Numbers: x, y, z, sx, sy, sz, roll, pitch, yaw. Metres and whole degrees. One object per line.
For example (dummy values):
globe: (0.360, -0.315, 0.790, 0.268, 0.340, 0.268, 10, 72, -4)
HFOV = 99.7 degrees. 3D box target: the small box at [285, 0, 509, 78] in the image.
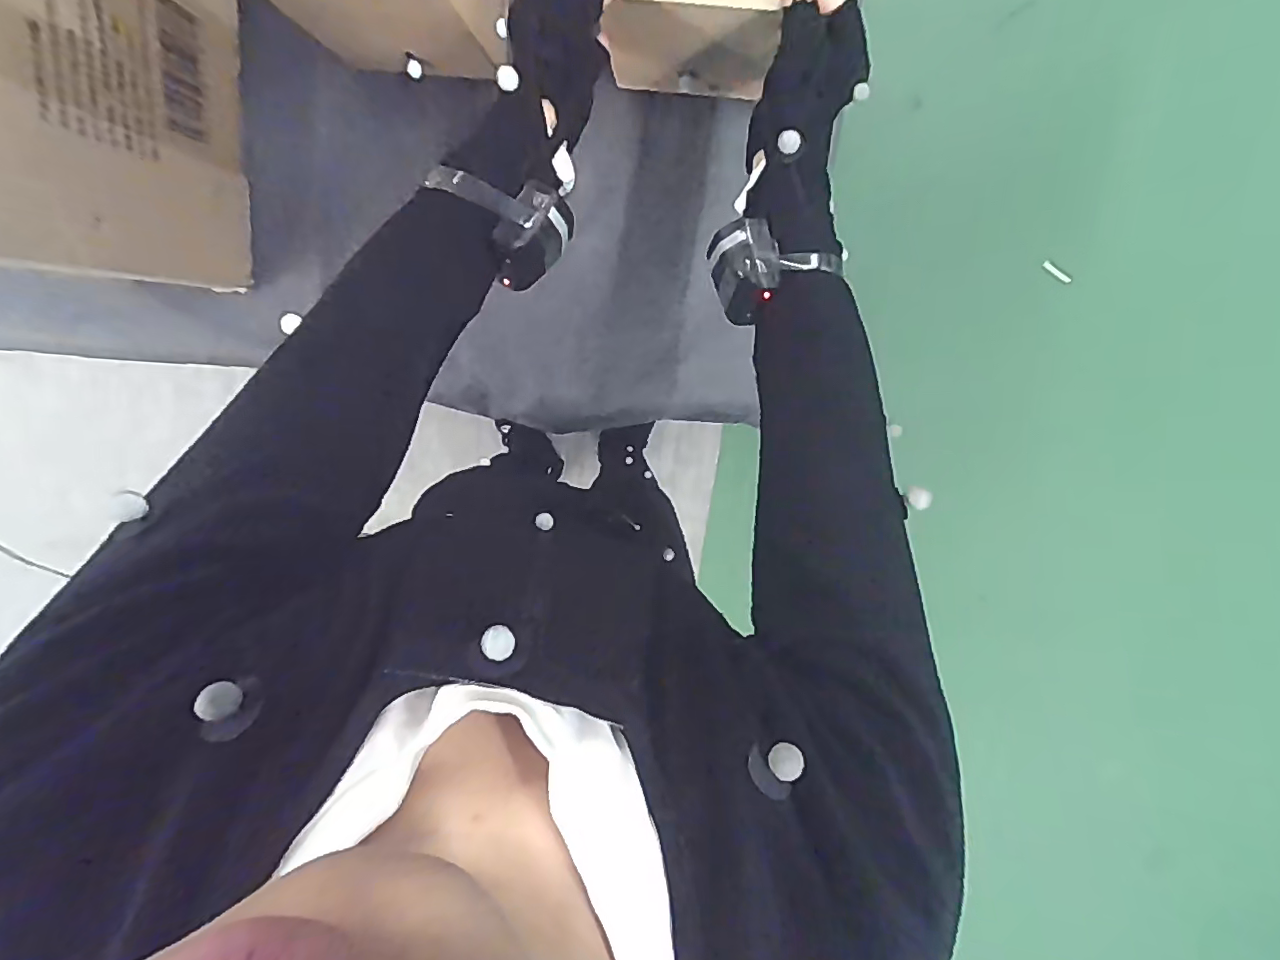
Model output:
small box: (-0.222, -0.508, 0.501, 0.179, 0.176, 0.168, 7, 104, 2)

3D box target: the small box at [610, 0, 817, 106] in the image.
small box: (0.070, -0.469, 0.480, 0.168, 0.176, 0.179, 7, 107, 4)
